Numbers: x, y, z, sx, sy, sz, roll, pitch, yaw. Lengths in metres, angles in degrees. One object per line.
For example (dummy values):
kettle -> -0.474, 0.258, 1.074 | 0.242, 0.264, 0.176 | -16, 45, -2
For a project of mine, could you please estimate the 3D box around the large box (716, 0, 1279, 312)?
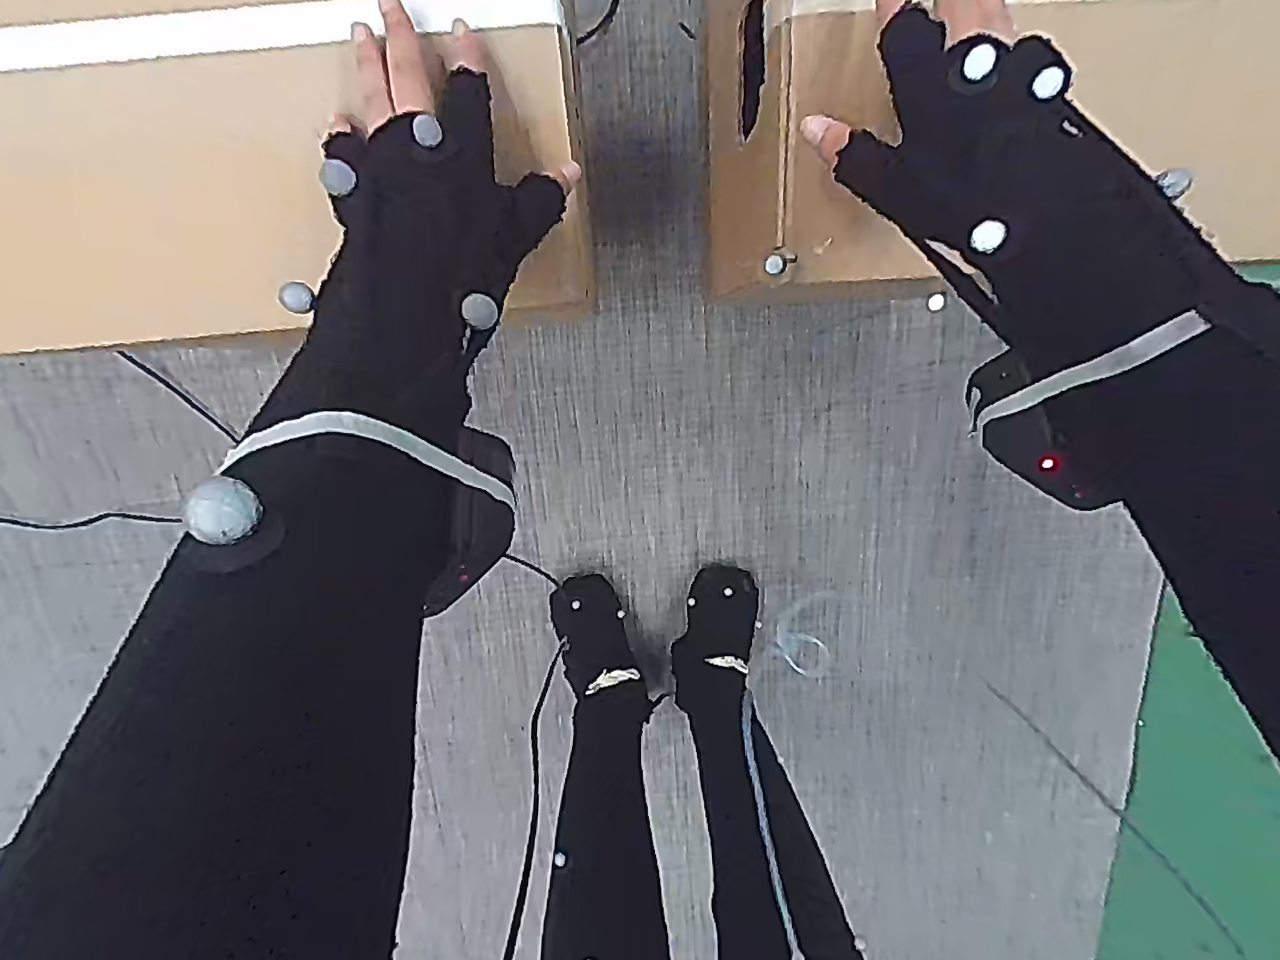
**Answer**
large box -> 0.291, -0.325, 0.490 | 0.408, 0.320, 0.320 | -3, 105, -1
